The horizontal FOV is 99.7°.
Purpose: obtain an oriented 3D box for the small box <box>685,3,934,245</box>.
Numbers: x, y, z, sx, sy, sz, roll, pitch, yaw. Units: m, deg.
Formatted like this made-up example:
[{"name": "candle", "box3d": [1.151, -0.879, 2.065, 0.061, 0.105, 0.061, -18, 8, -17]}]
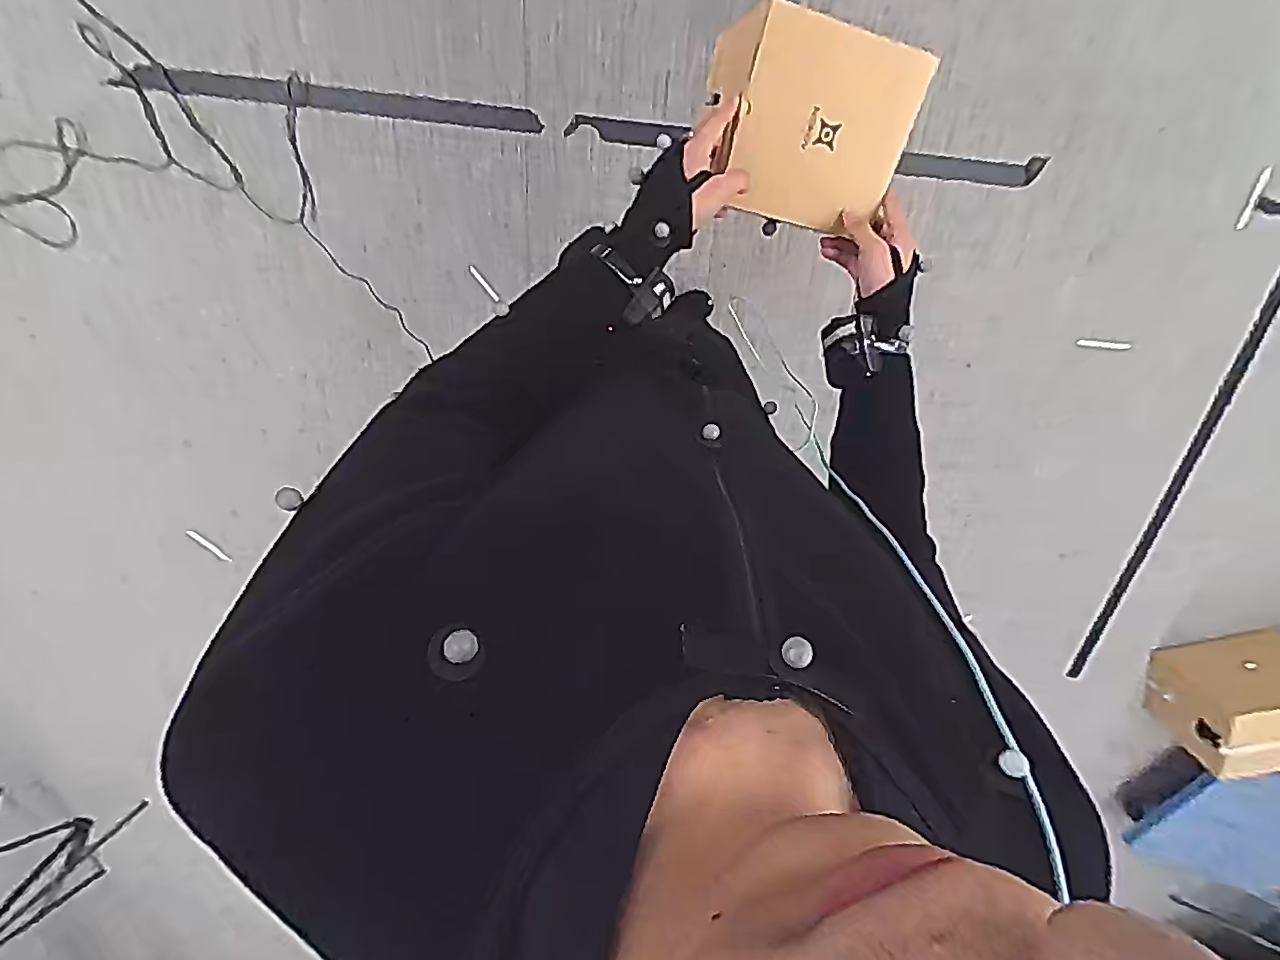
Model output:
[{"name": "small box", "box3d": [0.162, -0.370, 0.585, 0.179, 0.176, 0.168, 8, 119, -12]}]
